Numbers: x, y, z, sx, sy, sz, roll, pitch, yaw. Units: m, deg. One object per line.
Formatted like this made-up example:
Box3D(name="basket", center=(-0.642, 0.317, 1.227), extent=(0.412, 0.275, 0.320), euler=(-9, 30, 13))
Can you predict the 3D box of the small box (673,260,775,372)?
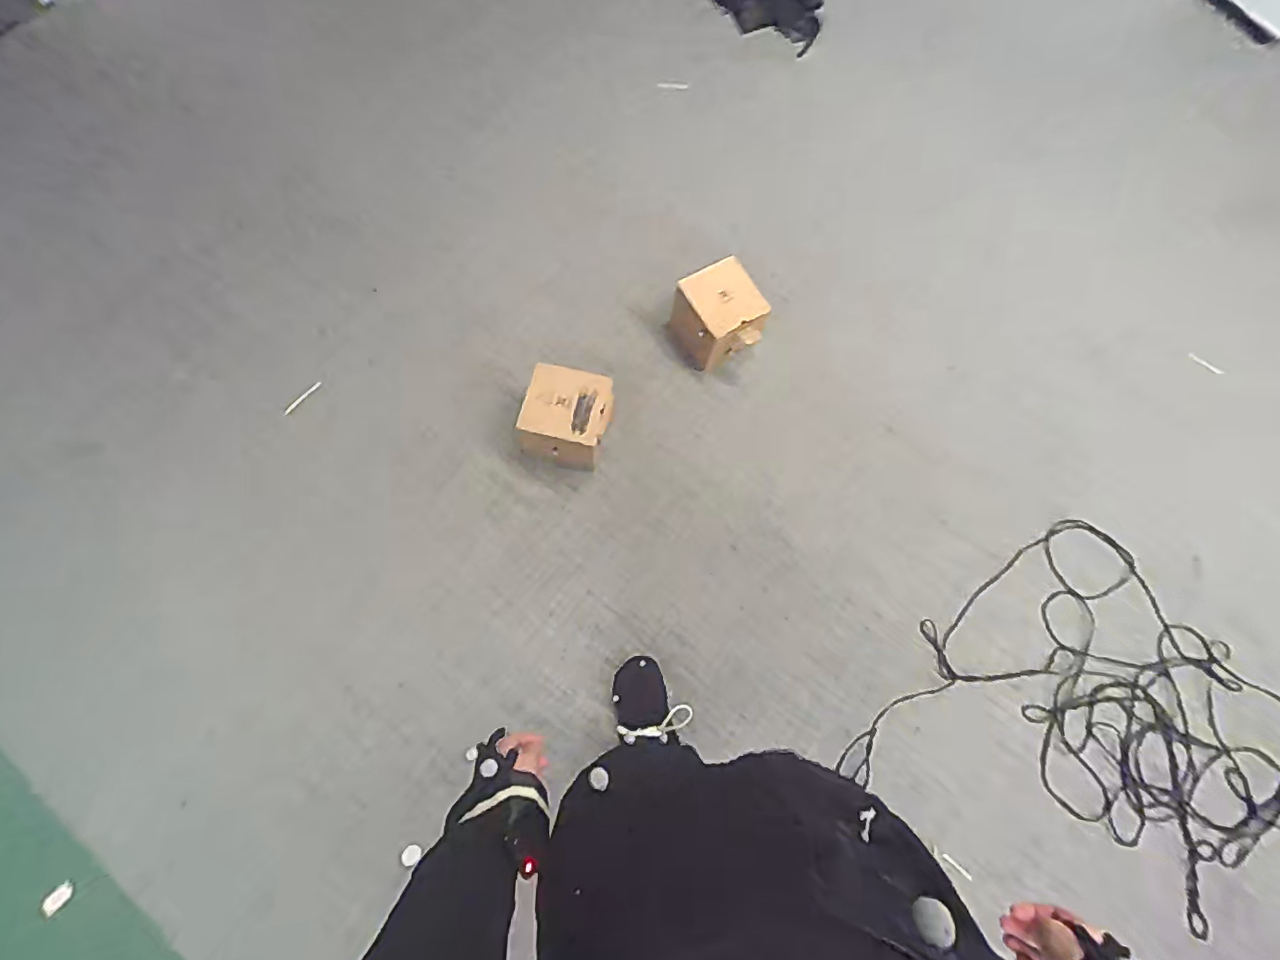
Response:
Box3D(name="small box", center=(0.200, -0.404, 1.351), extent=(0.168, 0.176, 0.179), euler=(-29, 78, -13))
